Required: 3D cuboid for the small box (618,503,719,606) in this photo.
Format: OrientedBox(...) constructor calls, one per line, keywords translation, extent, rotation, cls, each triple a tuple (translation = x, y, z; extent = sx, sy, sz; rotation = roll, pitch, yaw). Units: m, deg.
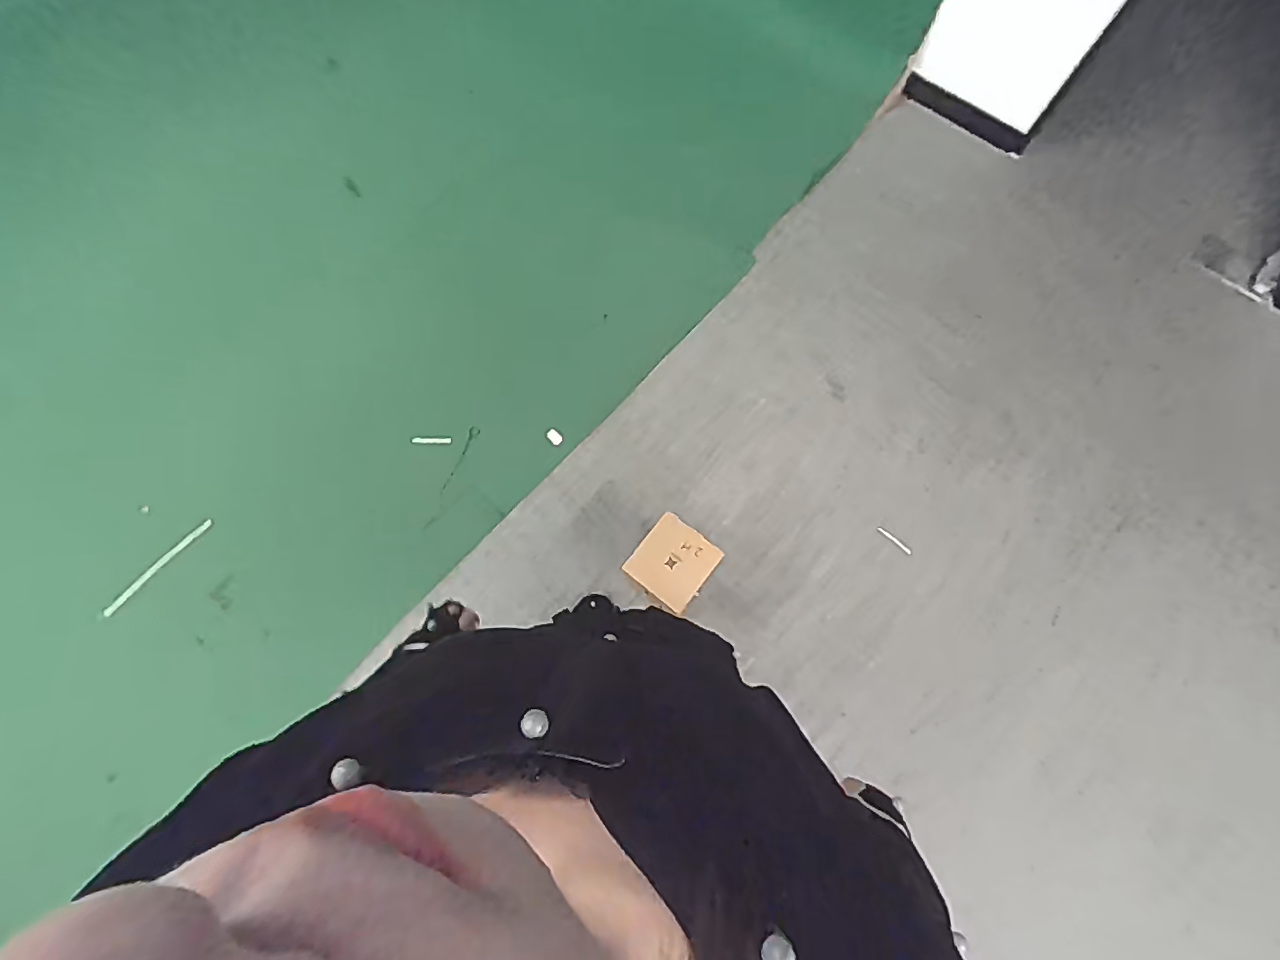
OrientedBox(translation=(0.067, 0.187, 1.300), extent=(0.168, 0.176, 0.179), rotation=(39, 79, 9), cls="small box")
